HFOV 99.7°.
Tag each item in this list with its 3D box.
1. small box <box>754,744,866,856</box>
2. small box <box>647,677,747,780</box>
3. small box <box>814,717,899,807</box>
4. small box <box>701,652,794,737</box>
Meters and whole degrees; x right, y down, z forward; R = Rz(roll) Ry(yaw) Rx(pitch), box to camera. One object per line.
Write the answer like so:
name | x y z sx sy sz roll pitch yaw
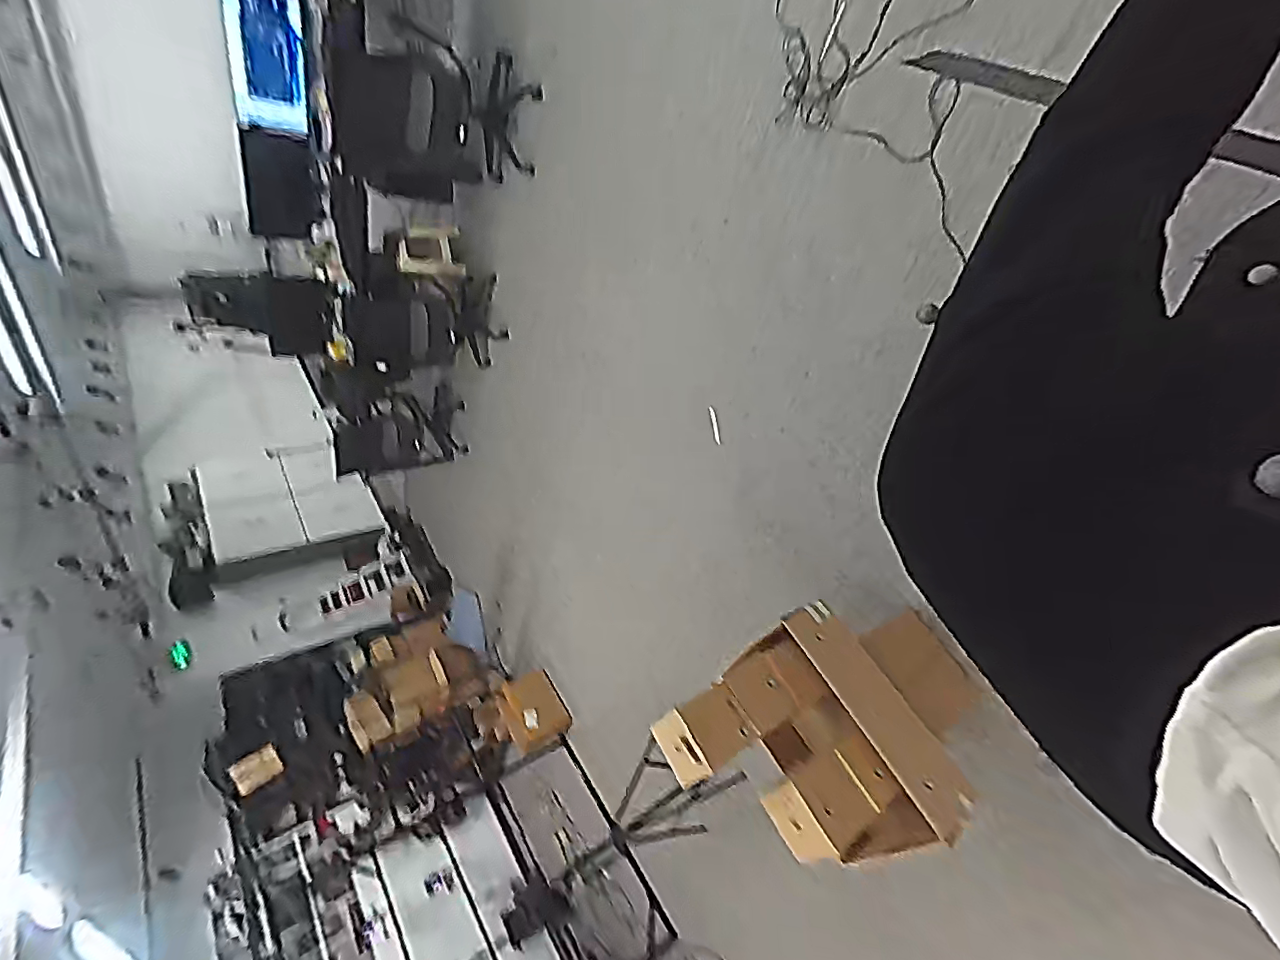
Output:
small box | 0.436 0.814 1.382 0.179 0.176 0.168 56 140 25
small box | 0.154 0.646 1.415 0.168 0.176 0.179 57 140 24
small box | 0.570 0.779 1.472 0.168 0.176 0.179 55 140 27
small box | 0.287 0.602 1.502 0.179 0.176 0.168 55 139 27
